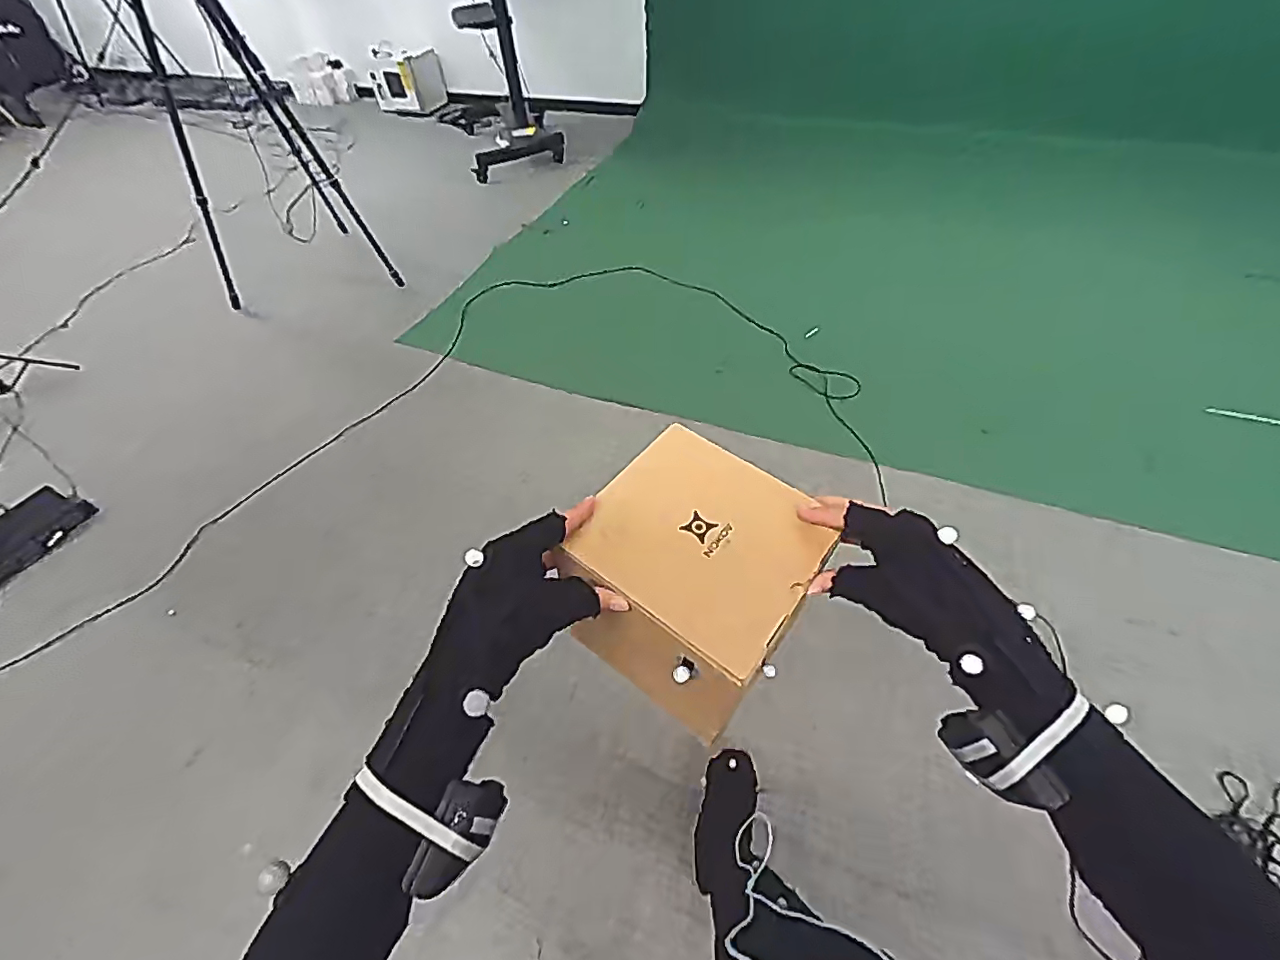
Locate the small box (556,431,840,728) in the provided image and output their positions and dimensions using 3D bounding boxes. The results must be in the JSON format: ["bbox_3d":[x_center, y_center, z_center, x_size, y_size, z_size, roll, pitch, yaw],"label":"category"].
[{"bbox_3d":[0.044,0.093,0.495,0.179,0.176,0.168,33,57,20],"label":"small box"}]
